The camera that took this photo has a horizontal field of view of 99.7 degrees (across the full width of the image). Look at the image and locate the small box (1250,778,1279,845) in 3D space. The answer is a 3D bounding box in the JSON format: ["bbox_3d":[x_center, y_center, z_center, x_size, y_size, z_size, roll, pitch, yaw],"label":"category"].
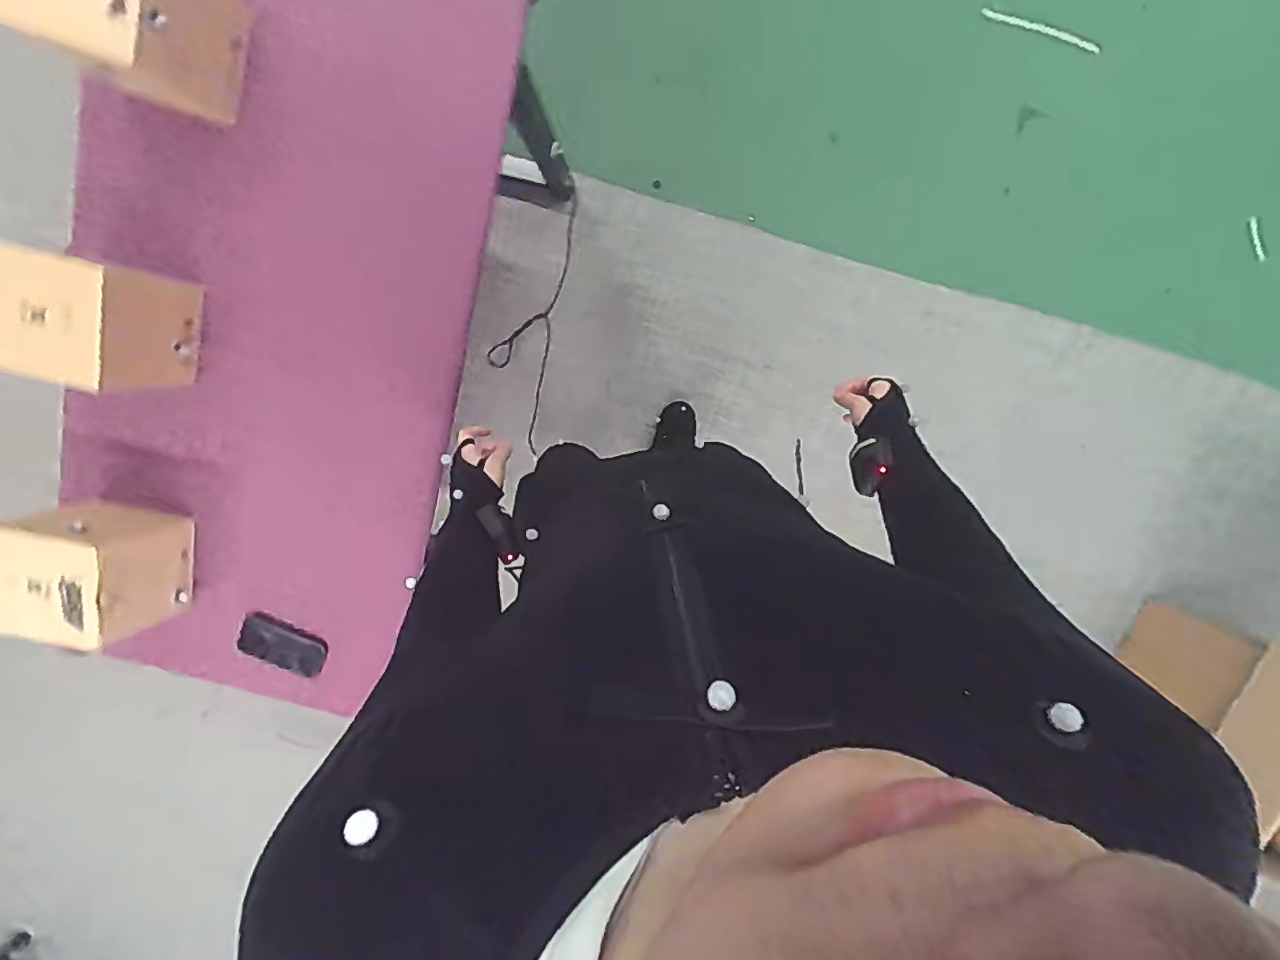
[{"bbox_3d":[1.576,0.799,1.217,0.179,0.176,0.168,22,100,-1],"label":"small box"}]

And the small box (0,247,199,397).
[{"bbox_3d":[-0.798,-0.221,0.783,0.179,0.176,0.168,14,101,-2],"label":"small box"}]

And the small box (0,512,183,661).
[{"bbox_3d":[-0.868,0.156,0.847,0.179,0.176,0.168,11,99,0],"label":"small box"}]

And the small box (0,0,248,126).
[{"bbox_3d":[-0.673,-0.607,0.713,0.179,0.176,0.168,17,101,-2],"label":"small box"}]
